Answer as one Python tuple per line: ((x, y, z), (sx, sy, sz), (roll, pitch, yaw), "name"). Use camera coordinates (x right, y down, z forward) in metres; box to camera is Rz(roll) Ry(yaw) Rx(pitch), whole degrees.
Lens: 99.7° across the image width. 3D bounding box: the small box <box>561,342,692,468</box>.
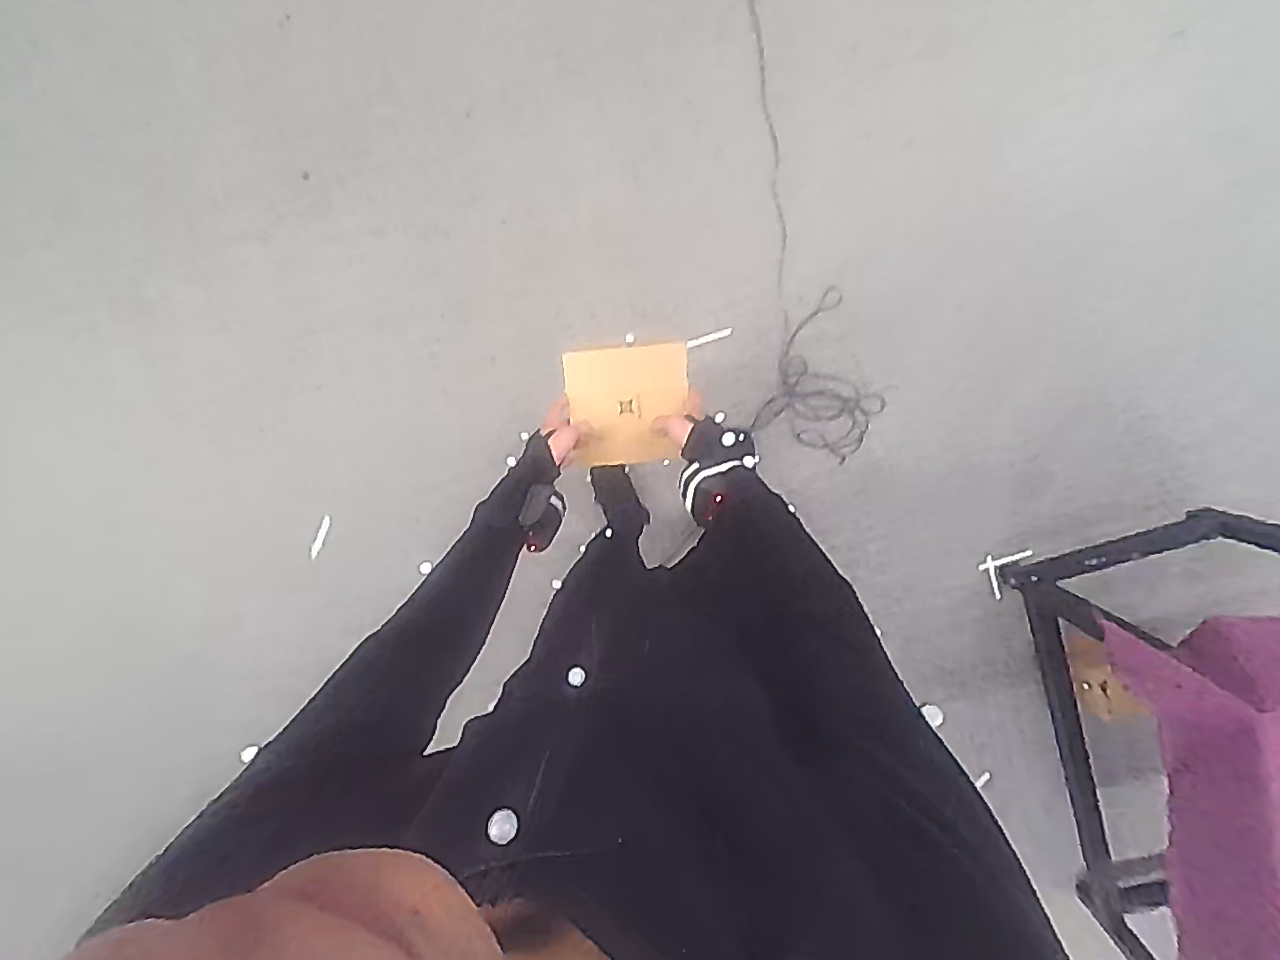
((-0.015, -0.122, 0.838), (0.179, 0.176, 0.168), (-4, 107, 2), "small box")
